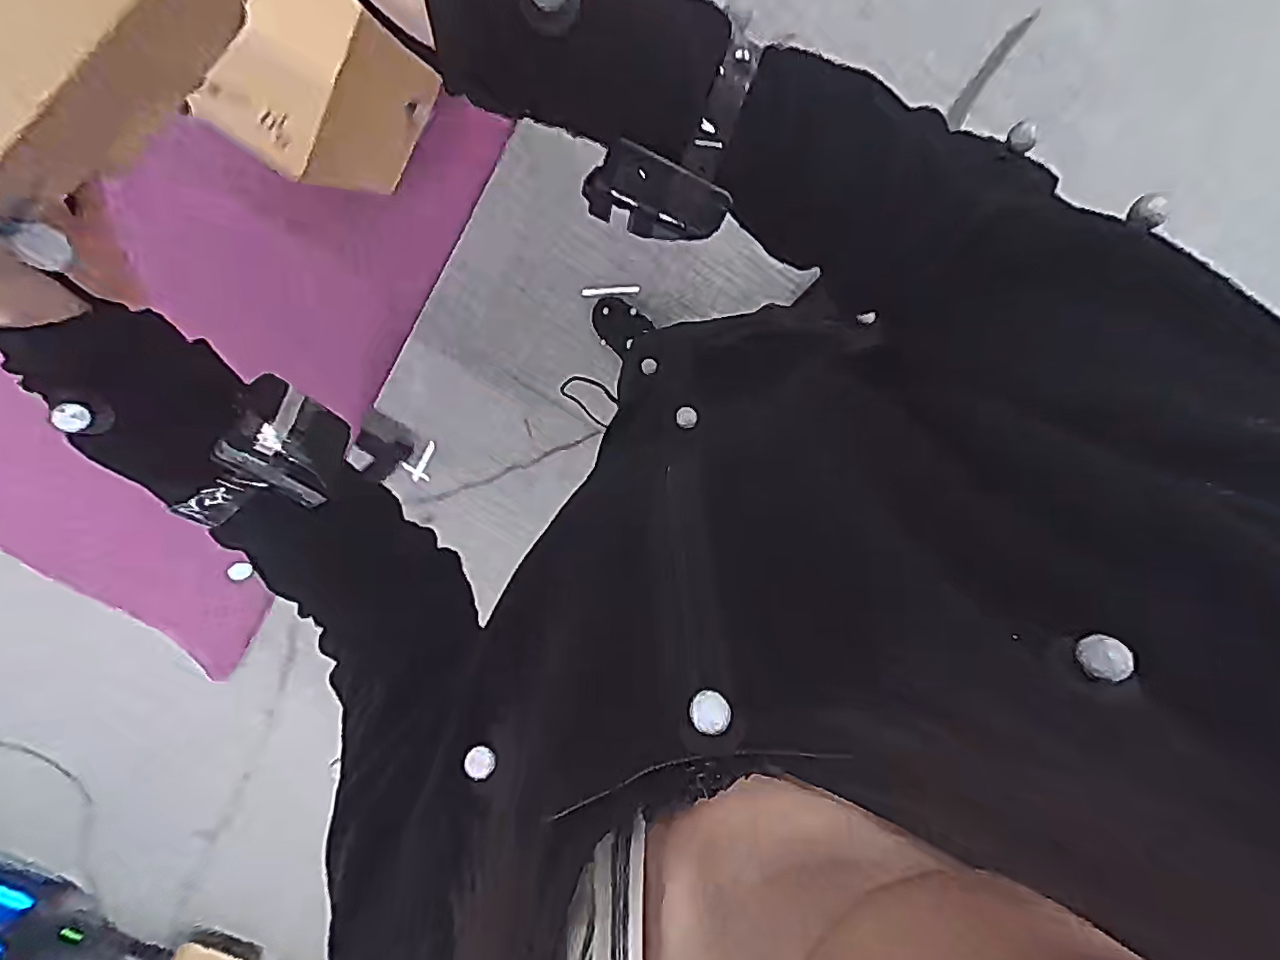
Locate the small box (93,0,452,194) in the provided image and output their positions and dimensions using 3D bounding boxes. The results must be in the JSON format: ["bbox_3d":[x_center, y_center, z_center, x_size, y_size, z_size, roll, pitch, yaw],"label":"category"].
[{"bbox_3d":[-0.283,-0.374,0.457,0.168,0.176,0.179,33,111,-12],"label":"small box"}]
